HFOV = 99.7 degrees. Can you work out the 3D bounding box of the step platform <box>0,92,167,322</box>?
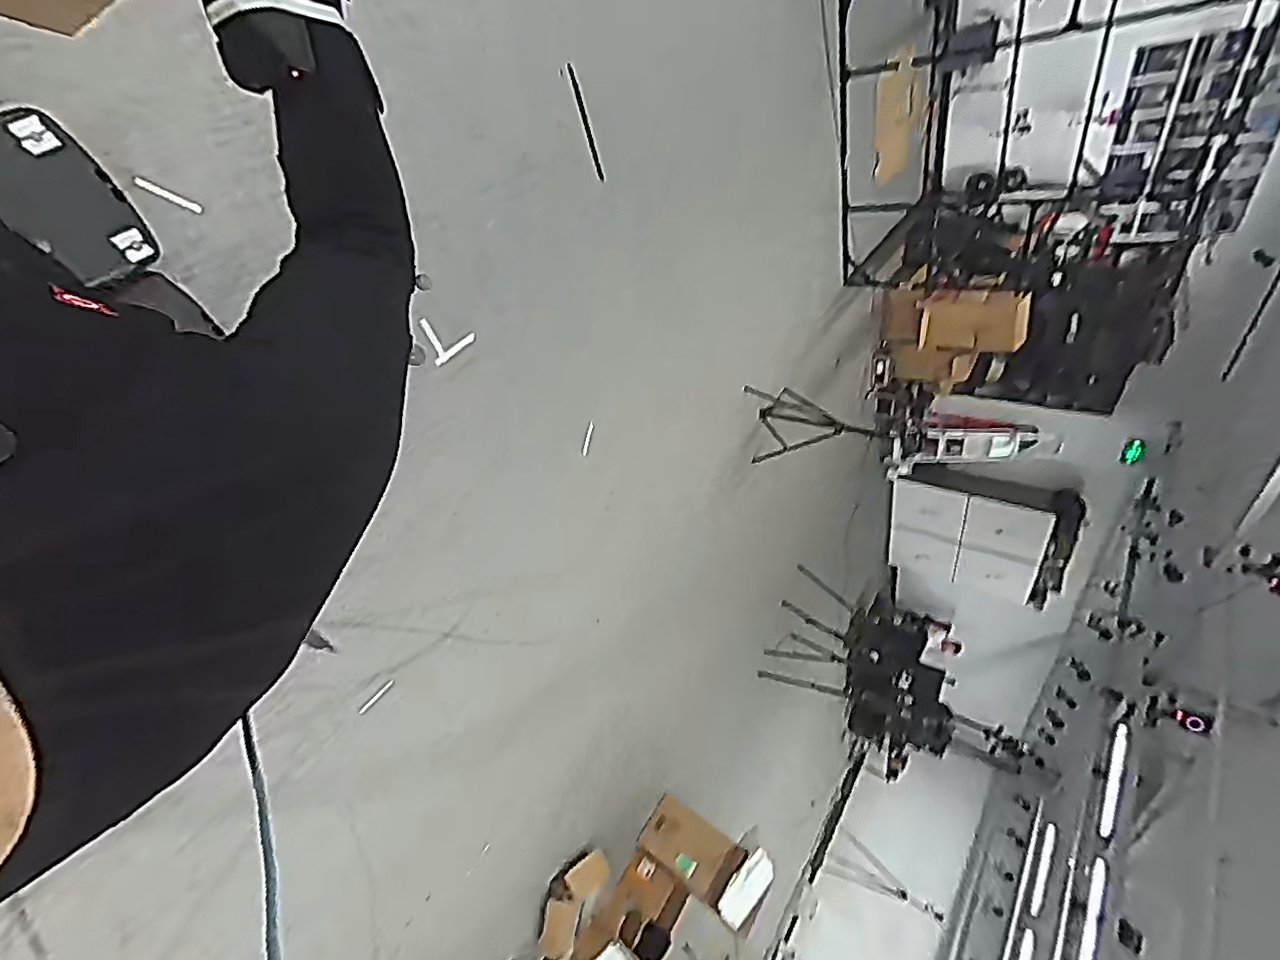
[{"bbox_3d":[-1.251,-0.406,0.932,0.684,0.204,0.286,-50,139,-30],"label":"step platform"}]
